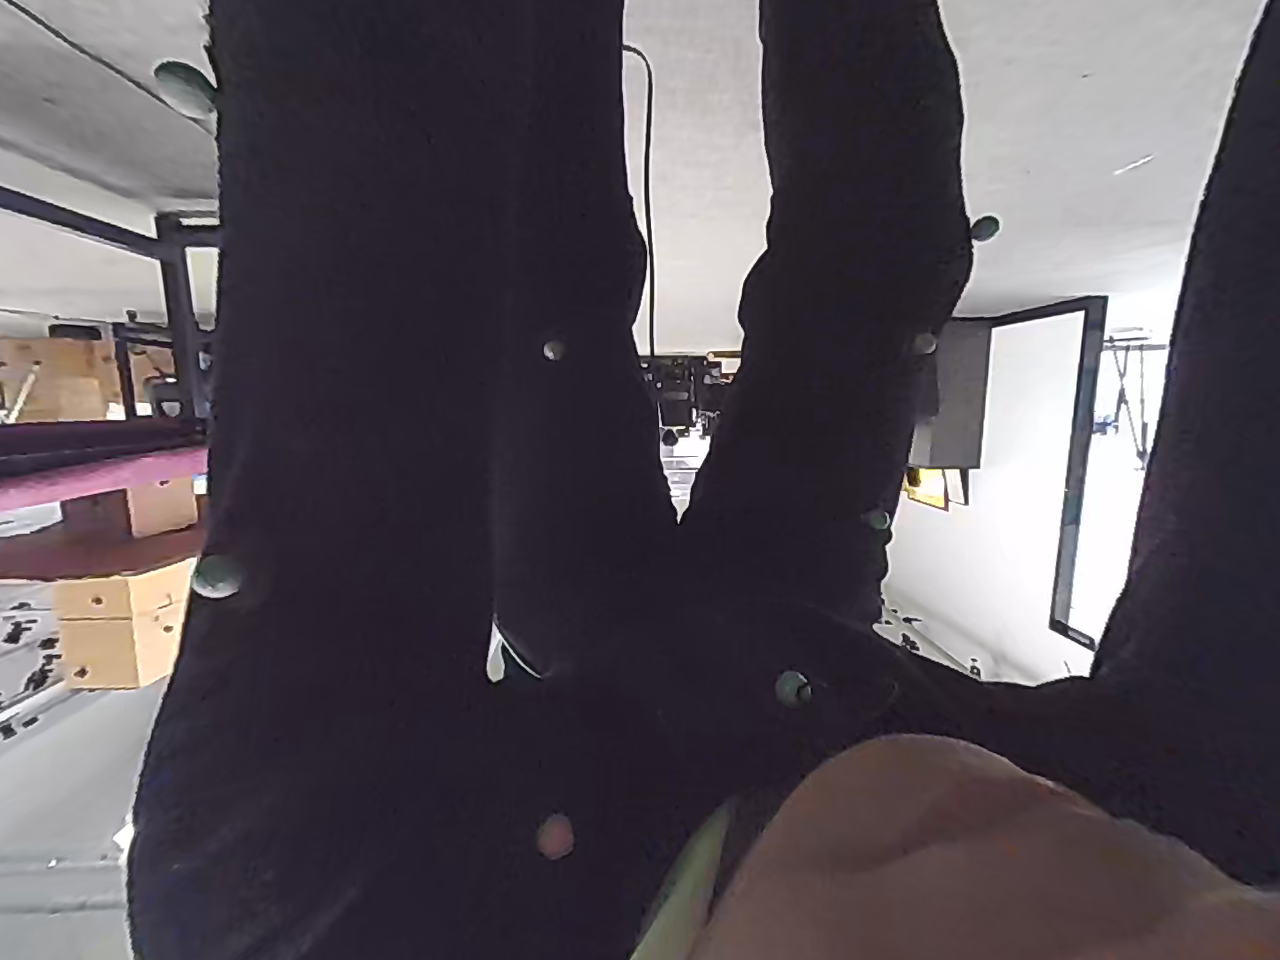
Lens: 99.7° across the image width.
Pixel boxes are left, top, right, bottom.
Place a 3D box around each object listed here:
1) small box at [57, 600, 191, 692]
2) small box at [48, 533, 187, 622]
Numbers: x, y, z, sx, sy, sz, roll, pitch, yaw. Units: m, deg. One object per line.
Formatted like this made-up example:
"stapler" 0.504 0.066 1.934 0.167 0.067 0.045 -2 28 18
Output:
"small box" -1.230 0.387 1.293 0.179 0.176 0.168 -1 -174 0
"small box" -1.228 0.223 1.274 0.179 0.176 0.168 0 -174 0
